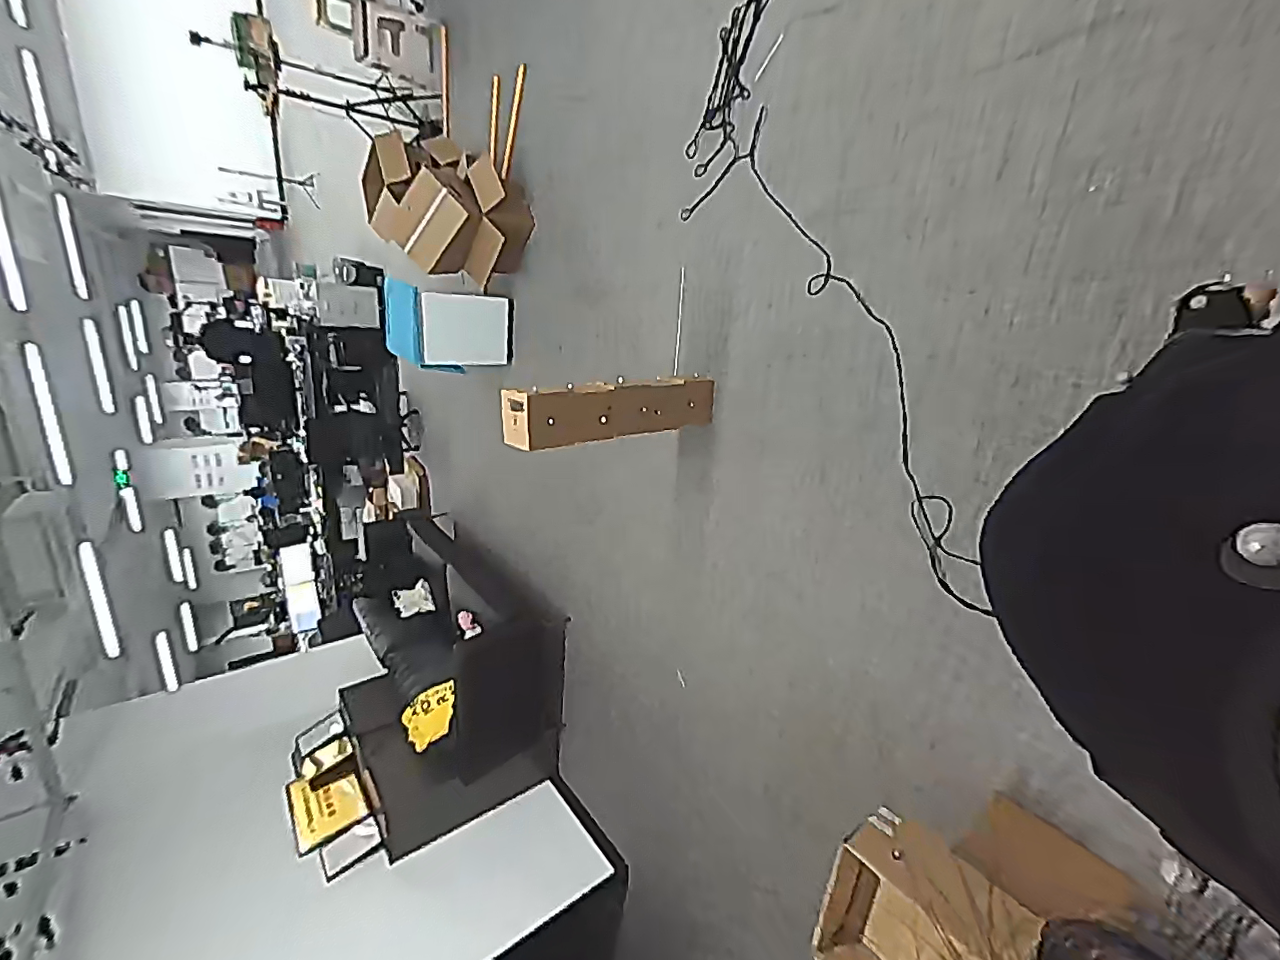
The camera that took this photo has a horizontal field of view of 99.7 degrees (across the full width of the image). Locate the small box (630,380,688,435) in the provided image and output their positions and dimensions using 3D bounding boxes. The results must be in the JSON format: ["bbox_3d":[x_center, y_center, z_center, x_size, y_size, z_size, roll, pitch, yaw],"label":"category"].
[{"bbox_3d":[0.063,-0.275,2.029,0.168,0.176,0.179,23,116,47],"label":"small box"}]

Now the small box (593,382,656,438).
[{"bbox_3d":[-0.056,-0.253,1.919,0.168,0.176,0.179,20,113,49],"label":"small box"}]

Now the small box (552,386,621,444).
[{"bbox_3d":[-0.182,-0.224,1.821,0.179,0.176,0.168,20,114,48],"label":"small box"}]

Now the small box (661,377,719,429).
[{"bbox_3d":[0.194,-0.308,2.124,0.168,0.176,0.179,23,115,48],"label":"small box"}]
